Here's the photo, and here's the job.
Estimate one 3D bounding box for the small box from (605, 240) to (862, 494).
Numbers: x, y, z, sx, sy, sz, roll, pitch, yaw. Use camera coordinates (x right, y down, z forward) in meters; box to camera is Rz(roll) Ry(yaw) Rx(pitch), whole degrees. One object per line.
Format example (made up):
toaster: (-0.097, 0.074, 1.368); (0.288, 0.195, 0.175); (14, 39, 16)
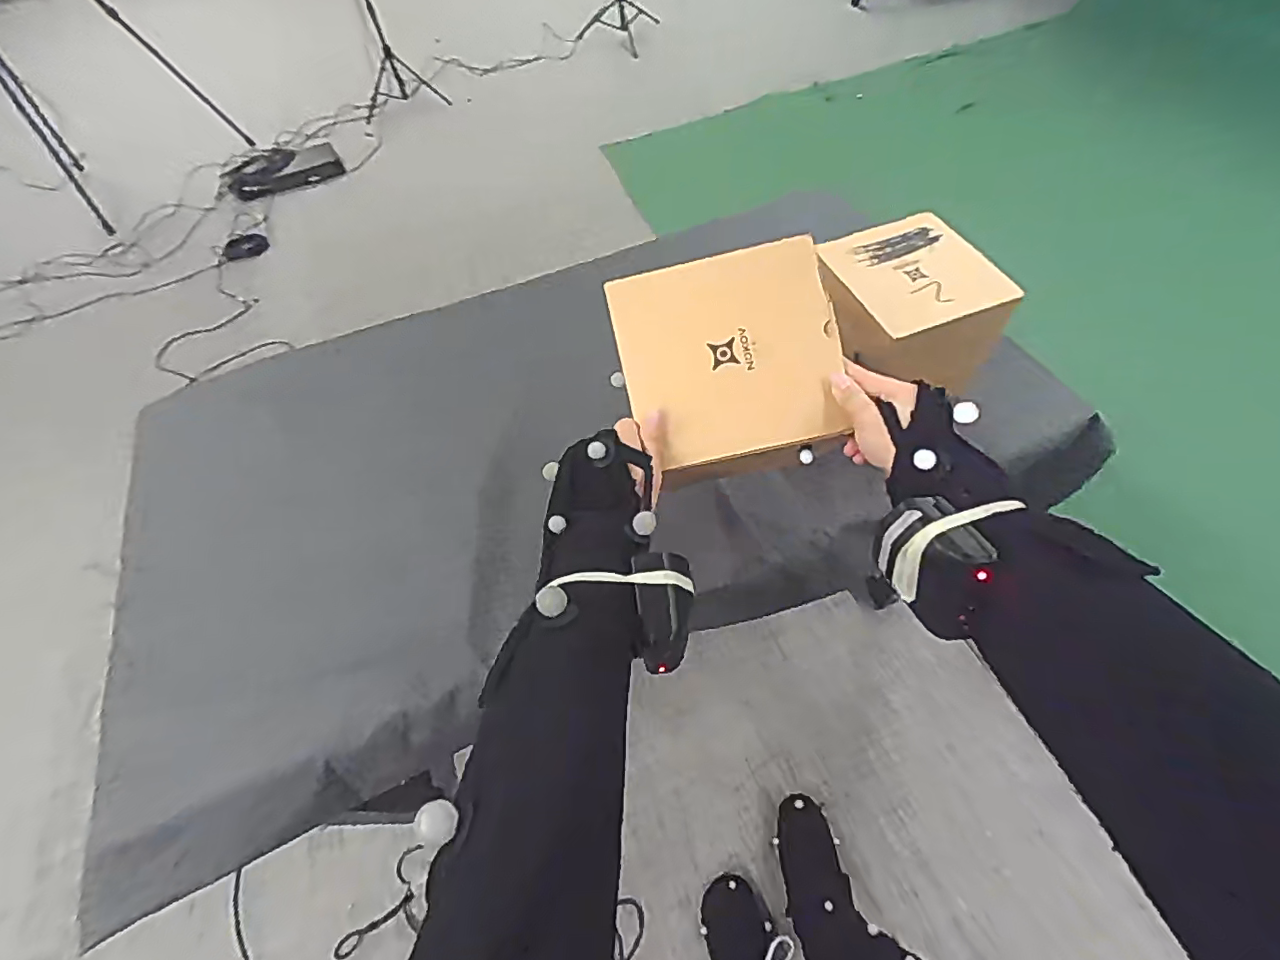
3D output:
small box: (0.077, -0.087, 0.507); (0.179, 0.176, 0.168); (-12, 82, 3)
